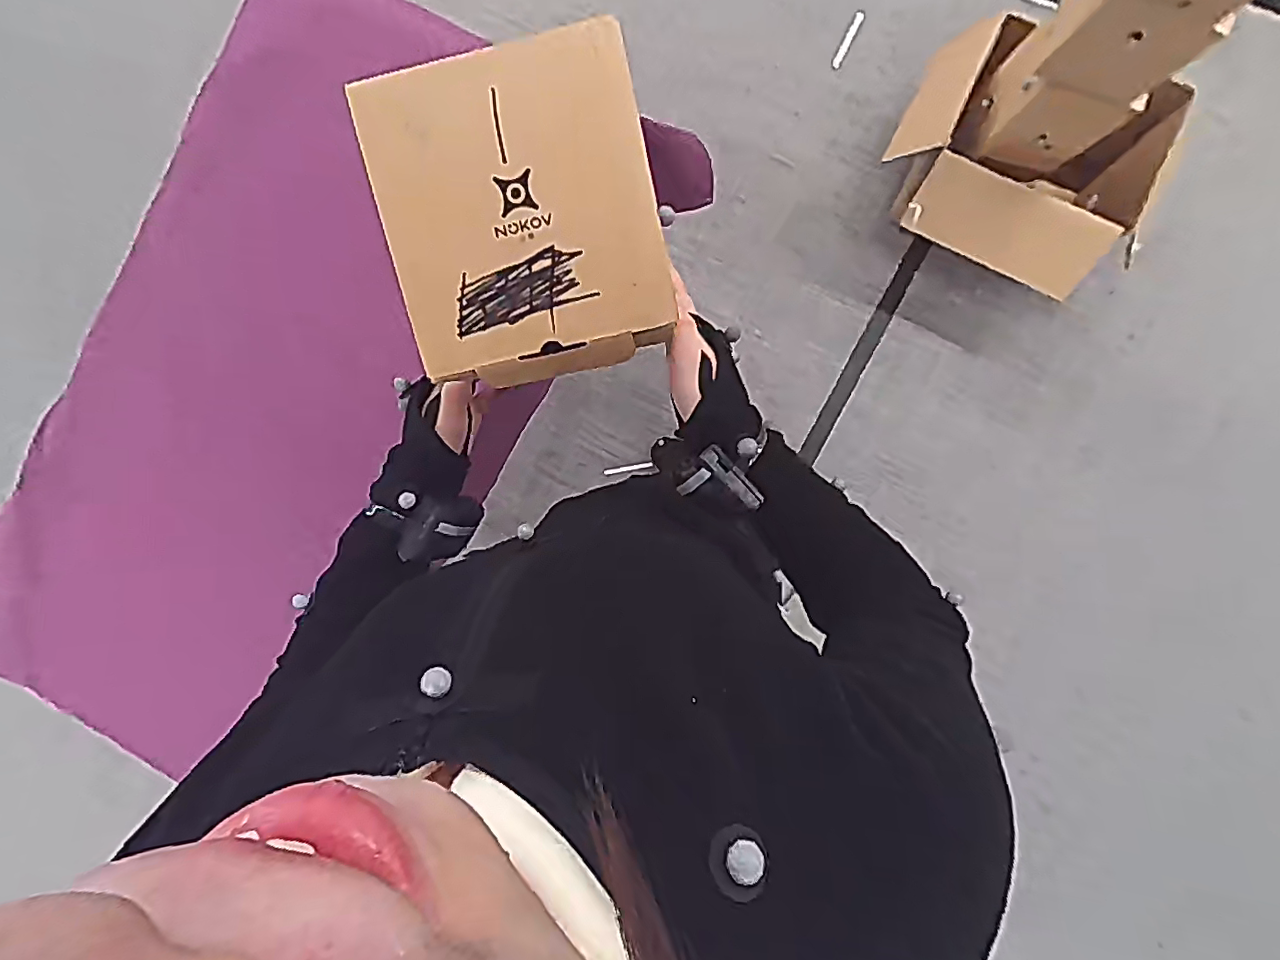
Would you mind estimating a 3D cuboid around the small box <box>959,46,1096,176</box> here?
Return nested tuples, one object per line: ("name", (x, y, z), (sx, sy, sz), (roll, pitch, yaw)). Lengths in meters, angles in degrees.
("small box", (0.807, -0.765, 1.137), (0.179, 0.176, 0.168), (5, 95, 2))

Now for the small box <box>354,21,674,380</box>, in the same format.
("small box", (-0.070, -0.177, 0.403), (0.168, 0.176, 0.179), (-11, 100, 3))

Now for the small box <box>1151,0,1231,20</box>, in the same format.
("small box", (0.720, -0.720, 0.652), (0.168, 0.176, 0.179), (20, 96, 1))

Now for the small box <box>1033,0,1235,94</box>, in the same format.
("small box", (0.749, -0.728, 0.814), (0.179, 0.176, 0.168), (19, 97, 2))
